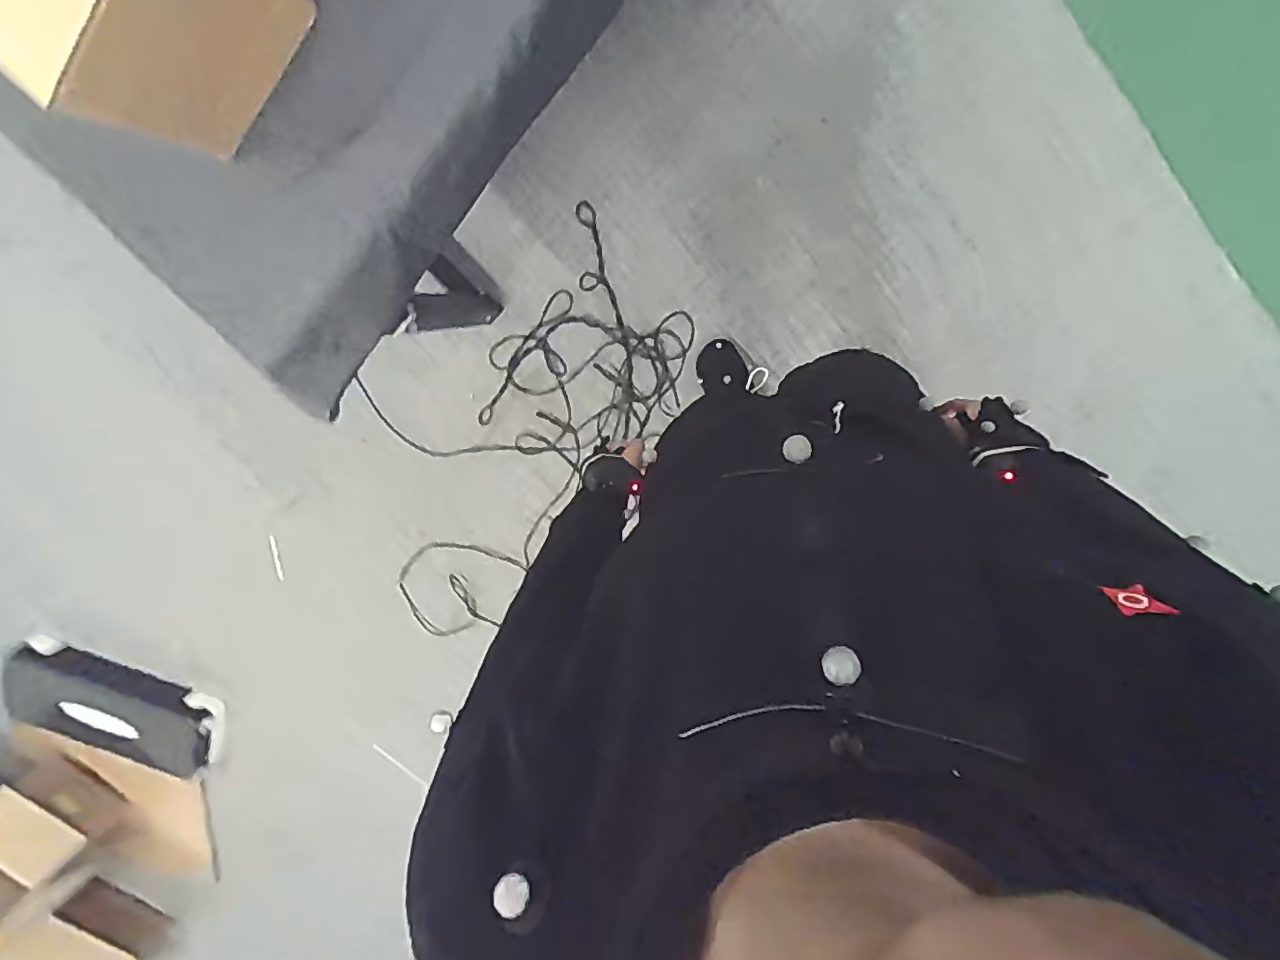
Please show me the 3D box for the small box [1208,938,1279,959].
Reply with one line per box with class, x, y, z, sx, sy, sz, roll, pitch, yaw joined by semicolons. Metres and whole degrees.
small box;1.212;0.979;0.984;0.168;0.176;0.179;-34;102;17
